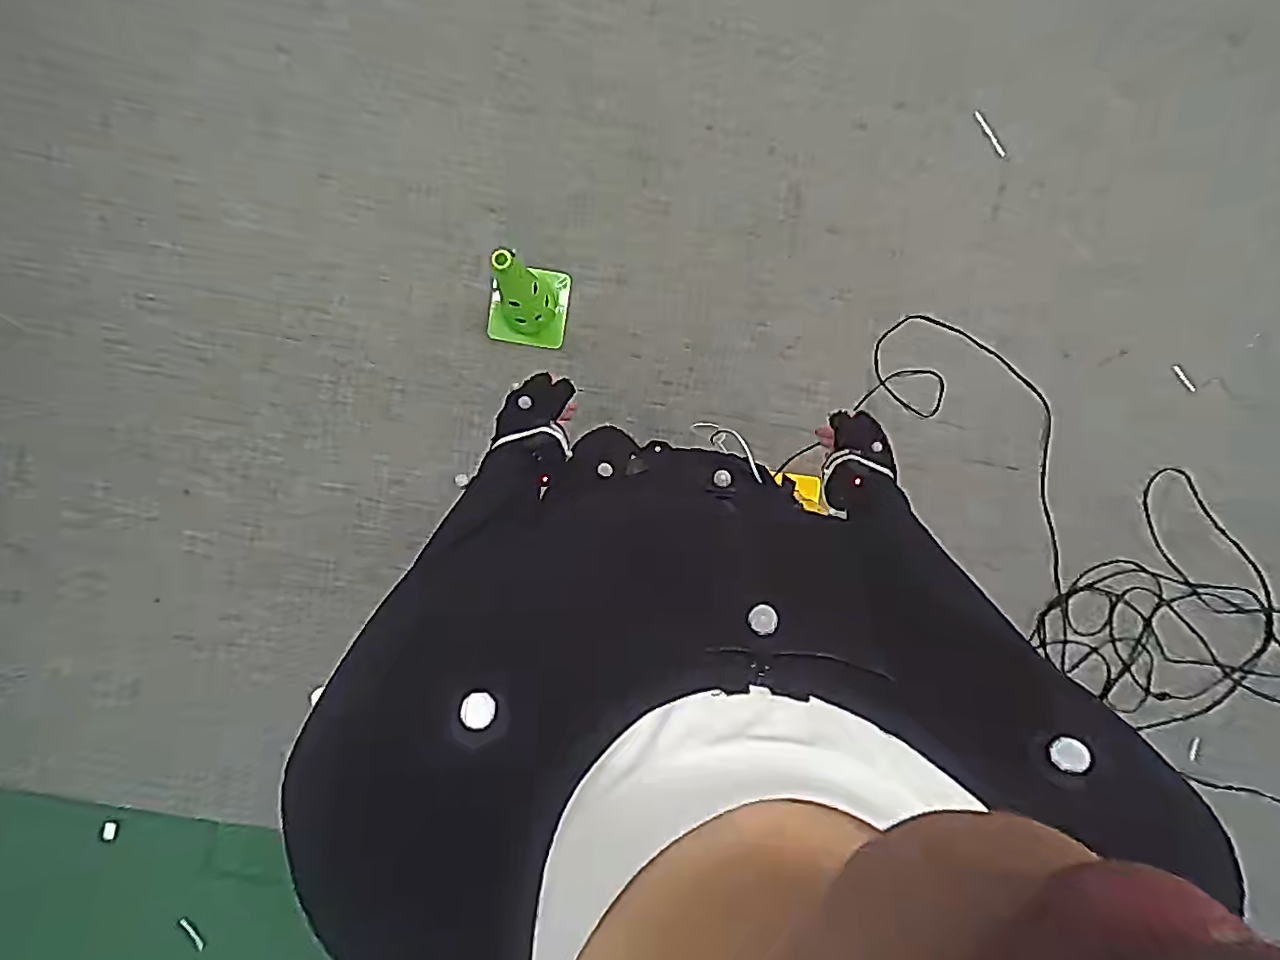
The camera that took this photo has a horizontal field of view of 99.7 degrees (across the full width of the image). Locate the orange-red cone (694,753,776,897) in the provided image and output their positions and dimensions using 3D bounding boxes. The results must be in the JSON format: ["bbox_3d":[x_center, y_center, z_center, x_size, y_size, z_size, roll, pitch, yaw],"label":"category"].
[{"bbox_3d":[0.270,0.888,1.364,0.198,0.360,0.199,10,92,-4],"label":"orange-red cone"}]

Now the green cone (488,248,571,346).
[{"bbox_3d":[-0.281,-0.453,1.256,0.202,0.368,0.200,8,94,-4],"label":"green cone"}]
